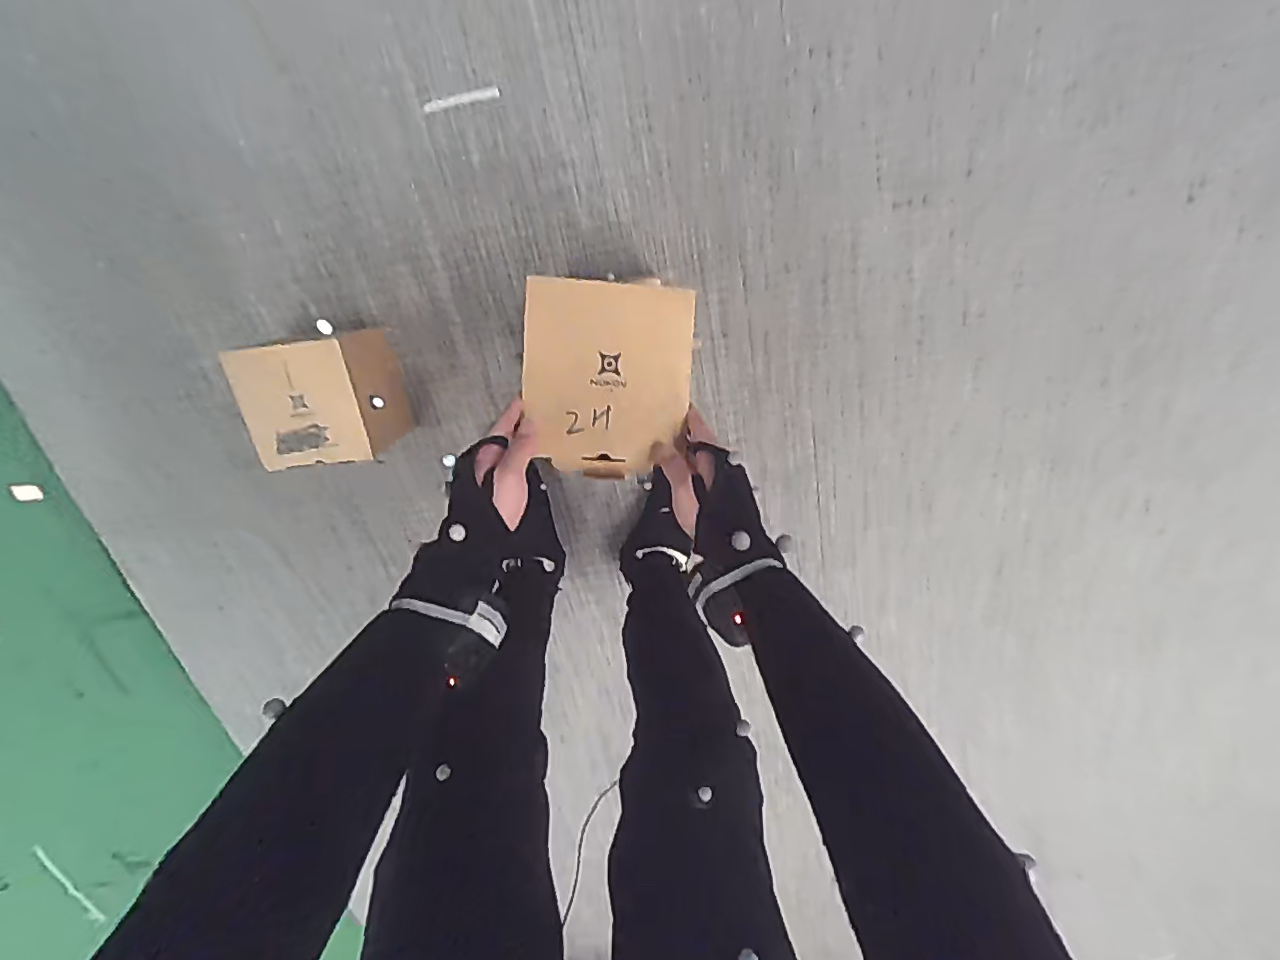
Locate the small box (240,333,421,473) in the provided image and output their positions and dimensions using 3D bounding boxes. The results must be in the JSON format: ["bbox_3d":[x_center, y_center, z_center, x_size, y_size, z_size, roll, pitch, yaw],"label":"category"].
[{"bbox_3d":[-0.467,-0.127,0.852,0.168,0.176,0.179,-6,111,1],"label":"small box"}]

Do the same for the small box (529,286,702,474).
[{"bbox_3d":[-0.033,-0.106,0.614,0.168,0.176,0.179,3,97,-6],"label":"small box"}]
